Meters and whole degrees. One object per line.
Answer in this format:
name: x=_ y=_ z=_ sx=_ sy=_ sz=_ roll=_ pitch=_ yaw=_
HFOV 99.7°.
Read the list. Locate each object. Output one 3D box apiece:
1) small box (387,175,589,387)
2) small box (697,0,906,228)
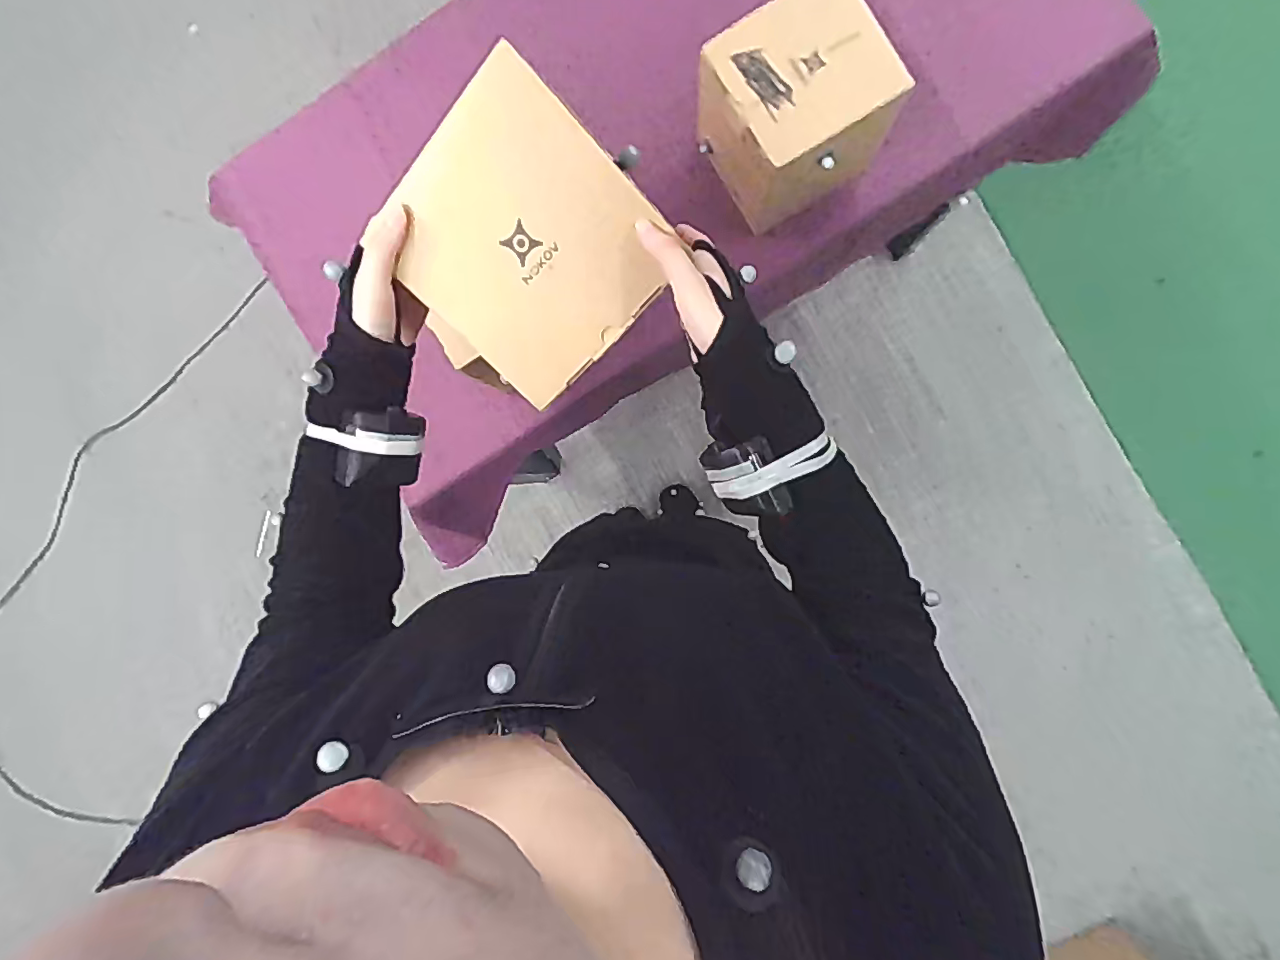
small box: x=-0.181 y=-0.245 z=0.710 sx=0.179 sy=0.176 sz=0.168 roll=-32 pitch=87 yaw=5
small box: x=0.185 y=-0.455 z=0.675 sx=0.179 sy=0.176 sz=0.168 roll=-30 pitch=88 yaw=4
